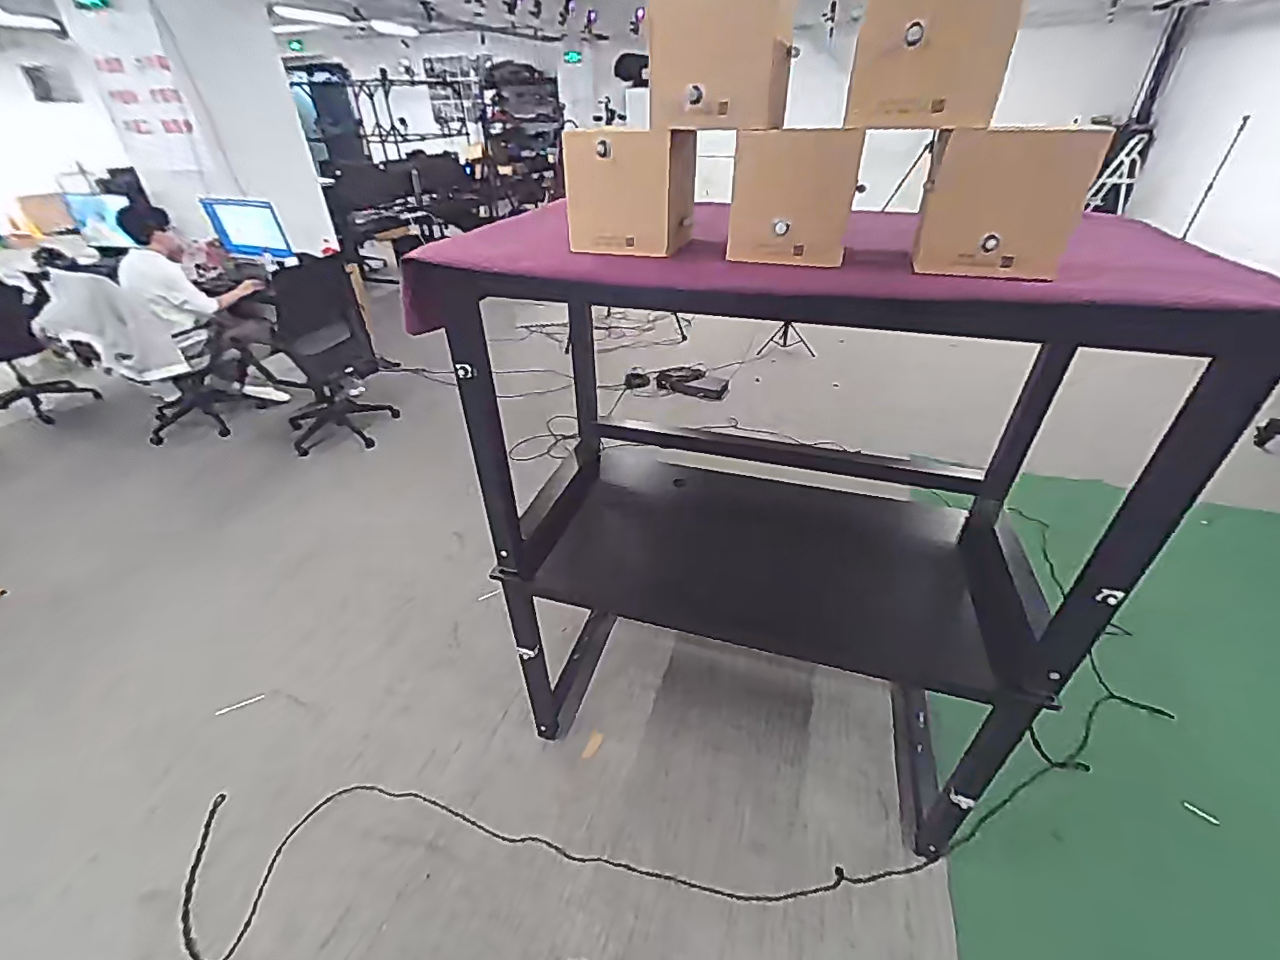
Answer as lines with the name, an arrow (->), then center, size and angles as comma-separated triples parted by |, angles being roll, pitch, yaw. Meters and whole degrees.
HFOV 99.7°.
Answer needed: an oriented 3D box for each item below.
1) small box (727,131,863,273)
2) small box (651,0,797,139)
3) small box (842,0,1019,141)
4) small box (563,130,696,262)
small box -> 0.230, -0.421, 0.810 | 0.168, 0.176, 0.179 | 10, 35, 16
small box -> 0.114, -0.579, 0.754 | 0.168, 0.176, 0.179 | 10, 35, 17
small box -> 0.358, -0.532, 0.683 | 0.168, 0.176, 0.179 | 10, 34, 16
small box -> -0.012, -0.462, 0.874 | 0.168, 0.176, 0.179 | 9, 34, 15
